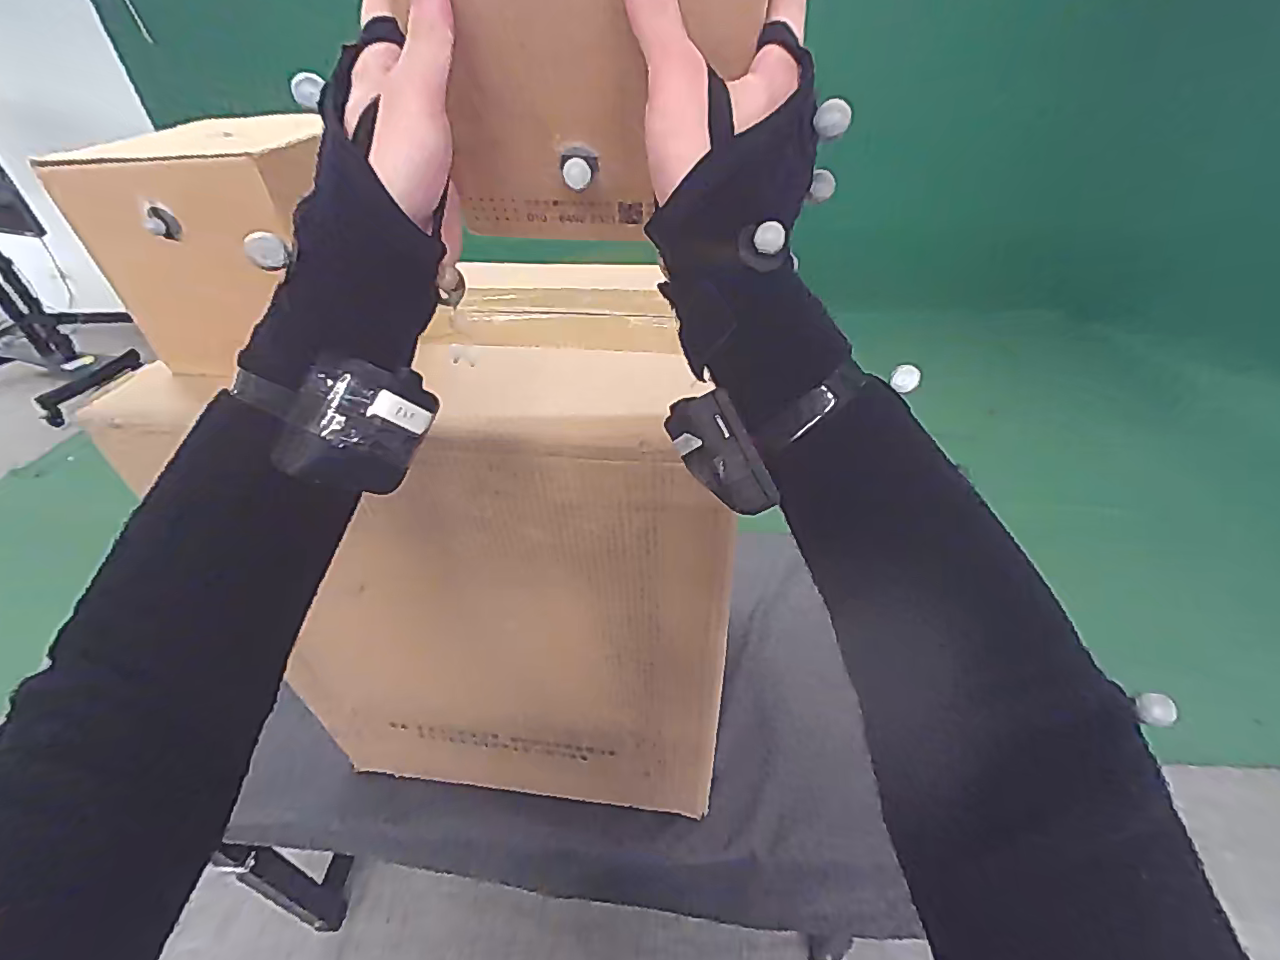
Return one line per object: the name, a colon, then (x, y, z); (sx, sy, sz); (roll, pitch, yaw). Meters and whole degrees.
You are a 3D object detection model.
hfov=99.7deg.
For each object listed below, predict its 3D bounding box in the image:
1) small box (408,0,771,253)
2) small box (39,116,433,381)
small box: (-0.021, -0.260, 0.304); (0.168, 0.176, 0.179); (3, 64, 2)
small box: (-0.310, -0.199, 0.466); (0.179, 0.176, 0.168); (4, 43, 6)
